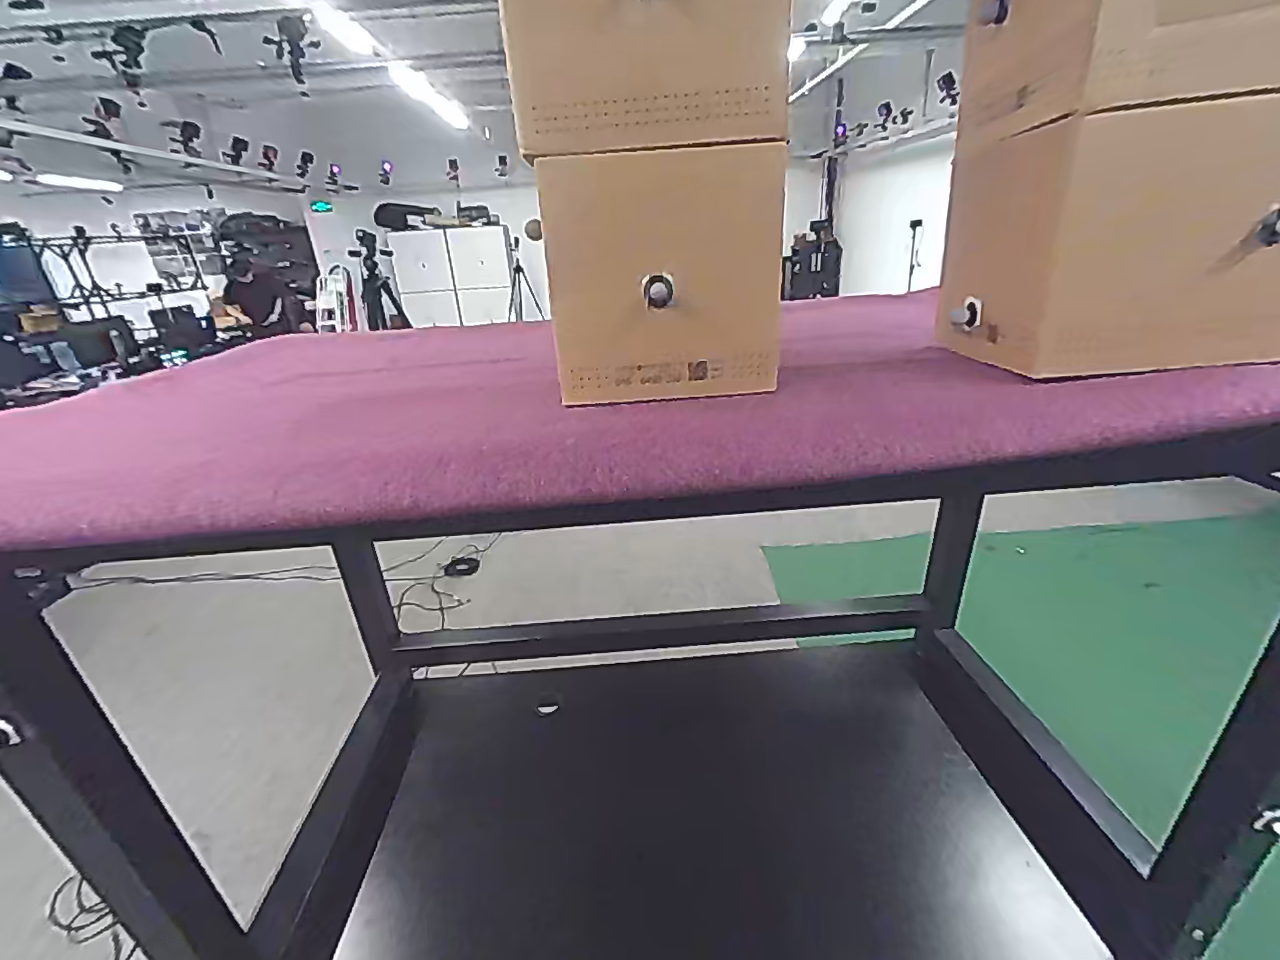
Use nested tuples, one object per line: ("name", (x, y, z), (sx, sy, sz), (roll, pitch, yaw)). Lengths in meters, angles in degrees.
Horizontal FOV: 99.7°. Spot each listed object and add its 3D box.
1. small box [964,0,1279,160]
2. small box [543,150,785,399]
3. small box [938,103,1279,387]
("small box", (0.353, -0.330, 0.379), (0.179, 0.176, 0.168), (-2, 21, 7))
("small box", (0.019, -0.169, 0.463), (0.168, 0.176, 0.179), (-3, 23, -1))
("small box", (0.368, -0.177, 0.432), (0.179, 0.176, 0.168), (-4, 21, 5))
